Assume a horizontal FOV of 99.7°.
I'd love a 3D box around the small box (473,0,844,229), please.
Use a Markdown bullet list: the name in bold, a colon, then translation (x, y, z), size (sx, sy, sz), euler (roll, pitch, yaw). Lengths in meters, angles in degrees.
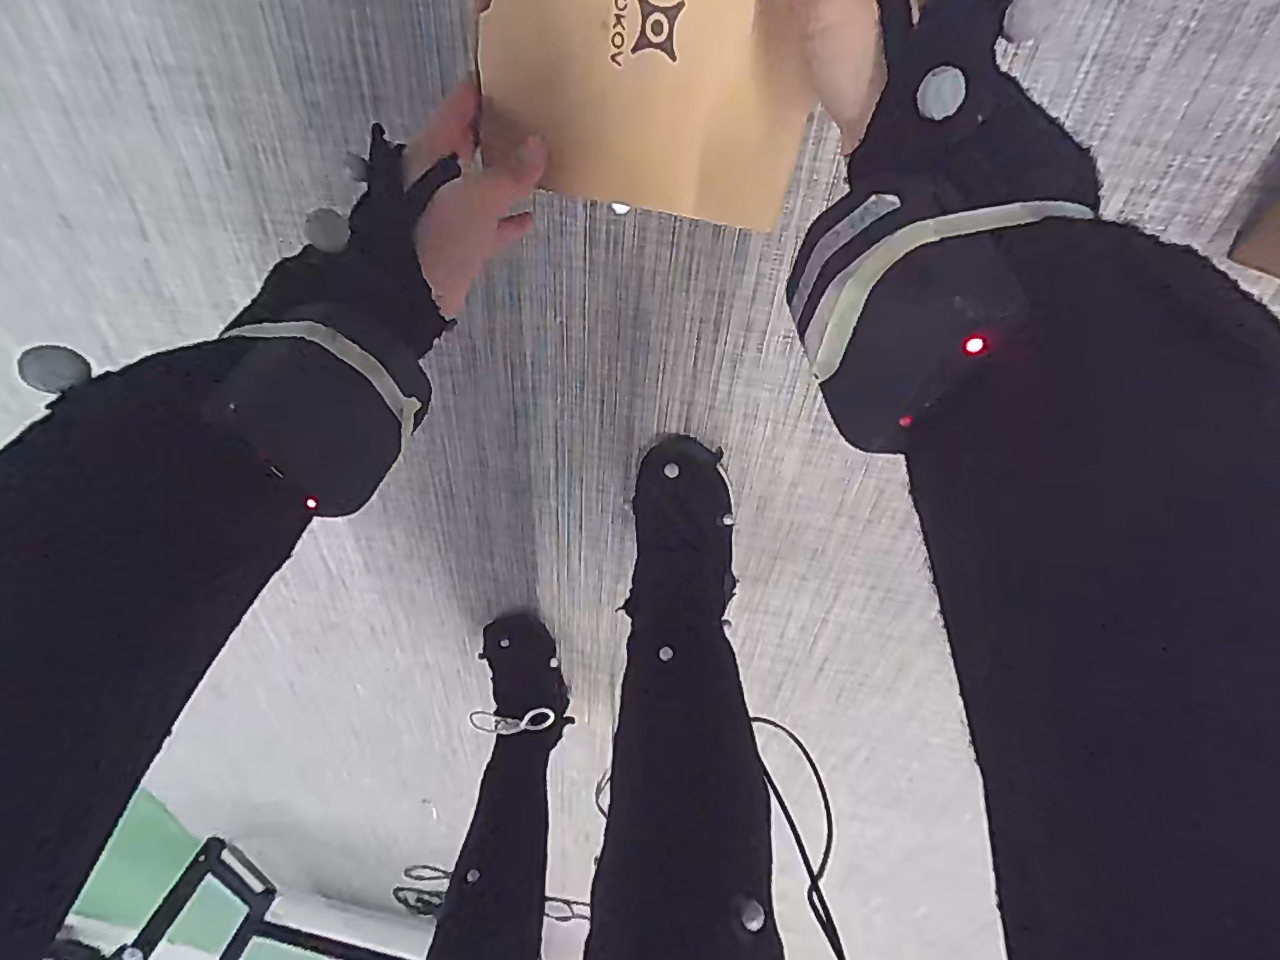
- **small box**: translation (0.015, -0.273, 0.317), size (0.179, 0.176, 0.168), euler (12, 133, 1)
